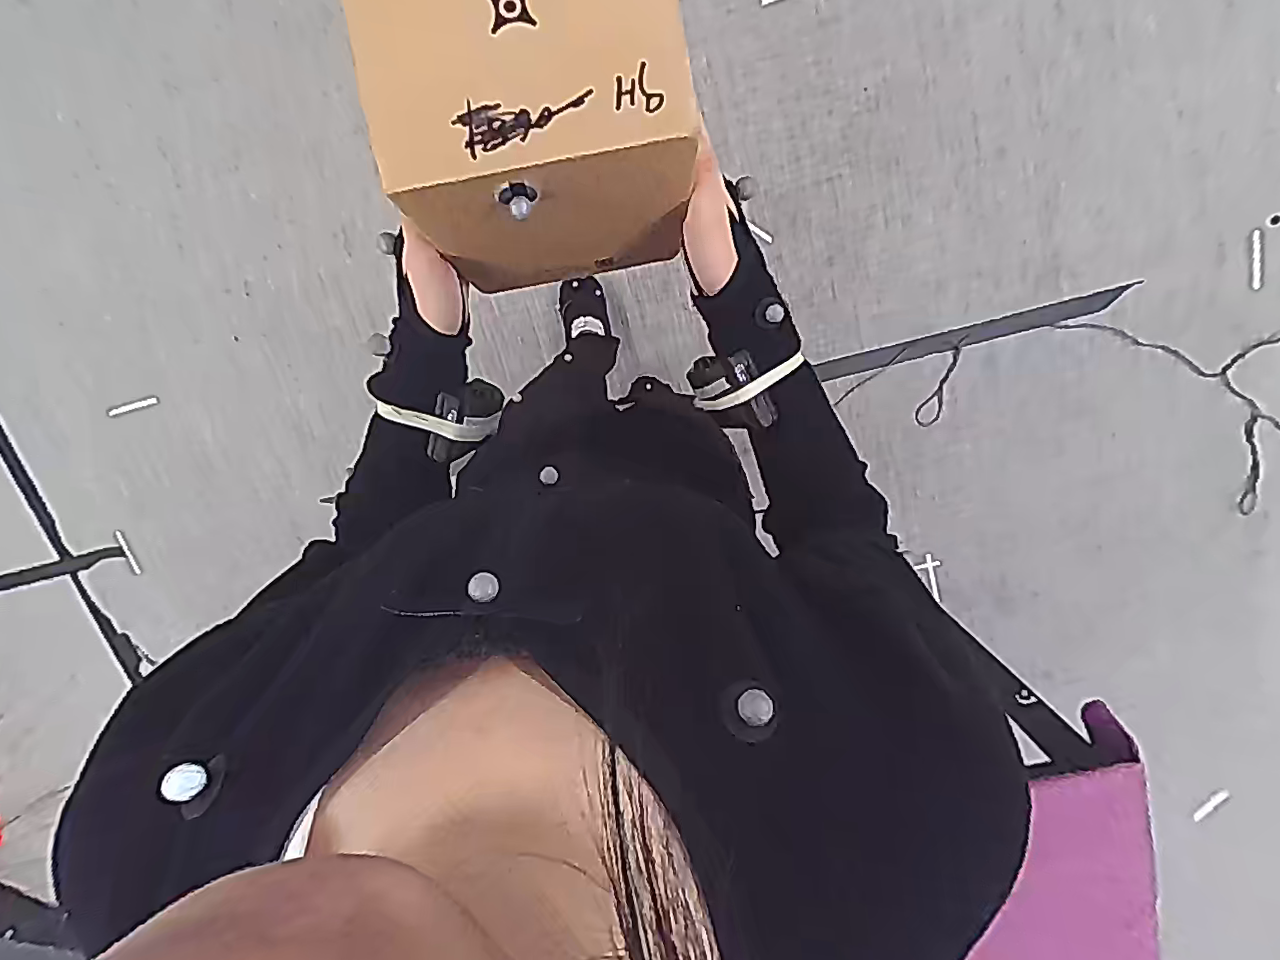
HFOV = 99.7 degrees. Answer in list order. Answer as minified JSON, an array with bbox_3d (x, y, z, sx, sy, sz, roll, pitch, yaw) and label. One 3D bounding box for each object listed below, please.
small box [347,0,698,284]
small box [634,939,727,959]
[{"bbox_3d":[-0.064,-0.251,0.348,0.168,0.176,0.179,-10,91,1],"label":"small box"},{"bbox_3d":[0.072,0.900,0.876,0.179,0.176,0.168,-16,103,5],"label":"small box"}]
